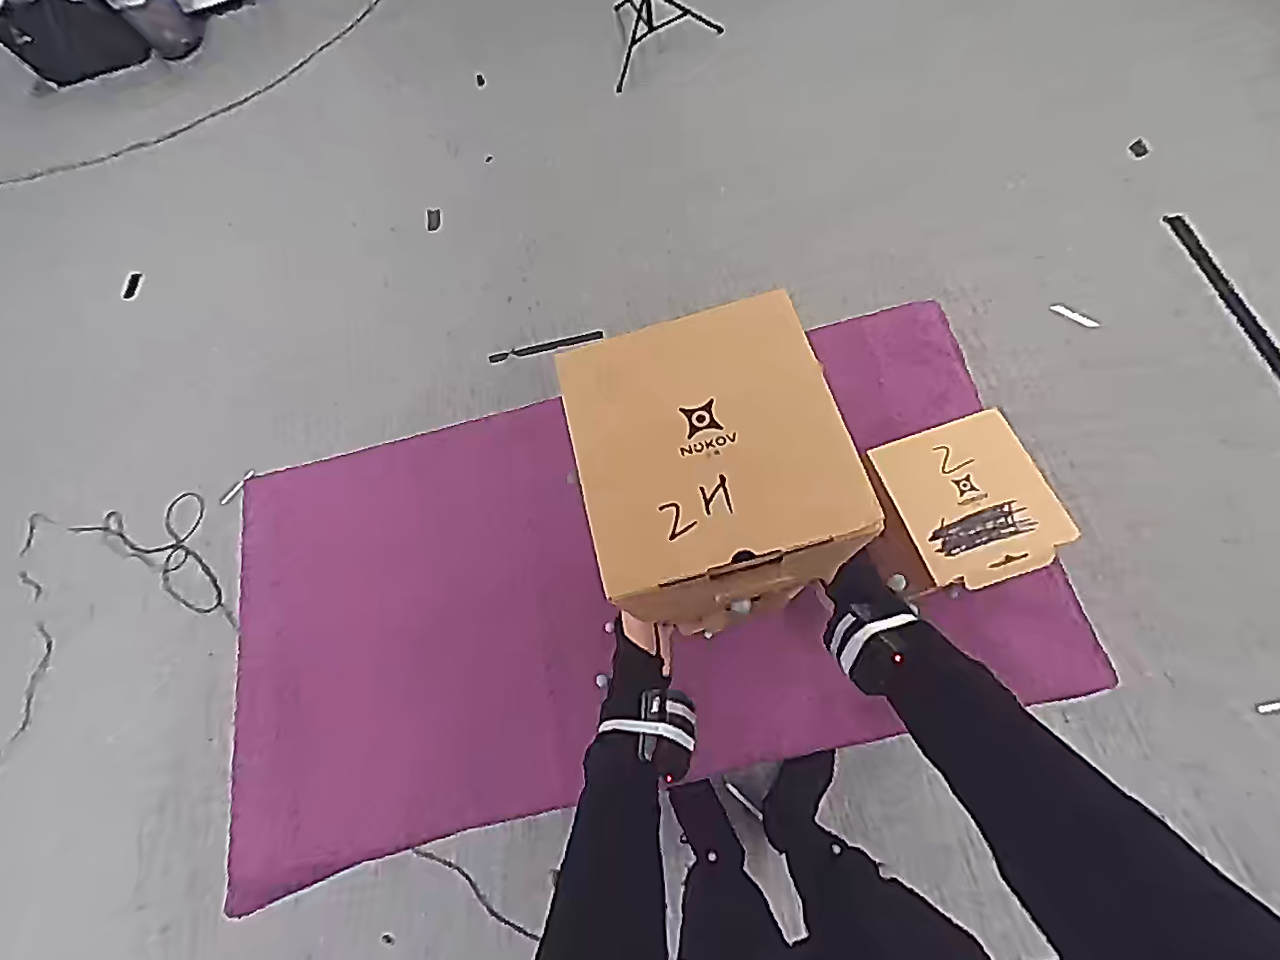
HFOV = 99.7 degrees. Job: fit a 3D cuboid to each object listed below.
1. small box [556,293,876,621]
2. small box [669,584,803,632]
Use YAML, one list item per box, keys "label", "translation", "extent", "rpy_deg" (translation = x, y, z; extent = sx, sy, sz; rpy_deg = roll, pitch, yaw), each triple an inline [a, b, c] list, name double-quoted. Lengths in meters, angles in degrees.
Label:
- label: "small box"
  translation: [0.048, -0.003, 0.415]
  extent: [0.168, 0.176, 0.179]
  rpy_deg: [-16, 69, 3]
- label: "small box"
  translation: [0.100, 0.096, 0.723]
  extent: [0.168, 0.176, 0.179]
  rpy_deg: [-20, 68, 1]
